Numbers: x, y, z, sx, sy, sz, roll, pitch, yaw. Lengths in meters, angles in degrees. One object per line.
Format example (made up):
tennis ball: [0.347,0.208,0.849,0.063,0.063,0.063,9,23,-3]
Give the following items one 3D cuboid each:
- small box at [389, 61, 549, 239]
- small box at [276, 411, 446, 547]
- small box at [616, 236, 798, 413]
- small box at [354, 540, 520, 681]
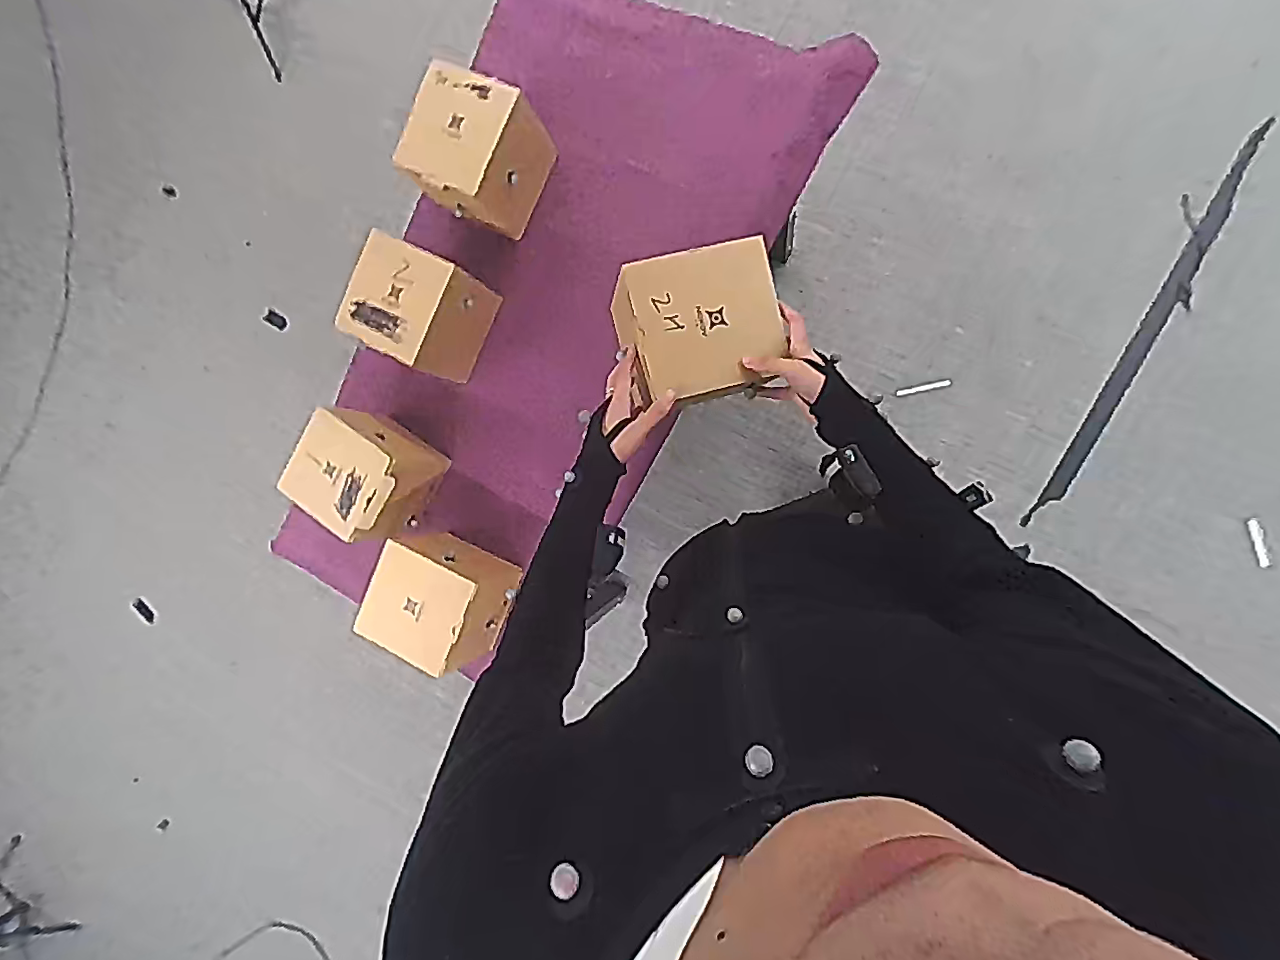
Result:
small box: [-0.277,-0.541,0.914,0.168,0.176,0.179,27,97,10]
small box: [-0.486,-0.004,0.967,0.179,0.176,0.168,32,97,11]
small box: [0.076,-0.189,0.701,0.179,0.176,0.168,-14,93,-6]
small box: [-0.339,0.210,0.930,0.179,0.176,0.168,22,93,12]
